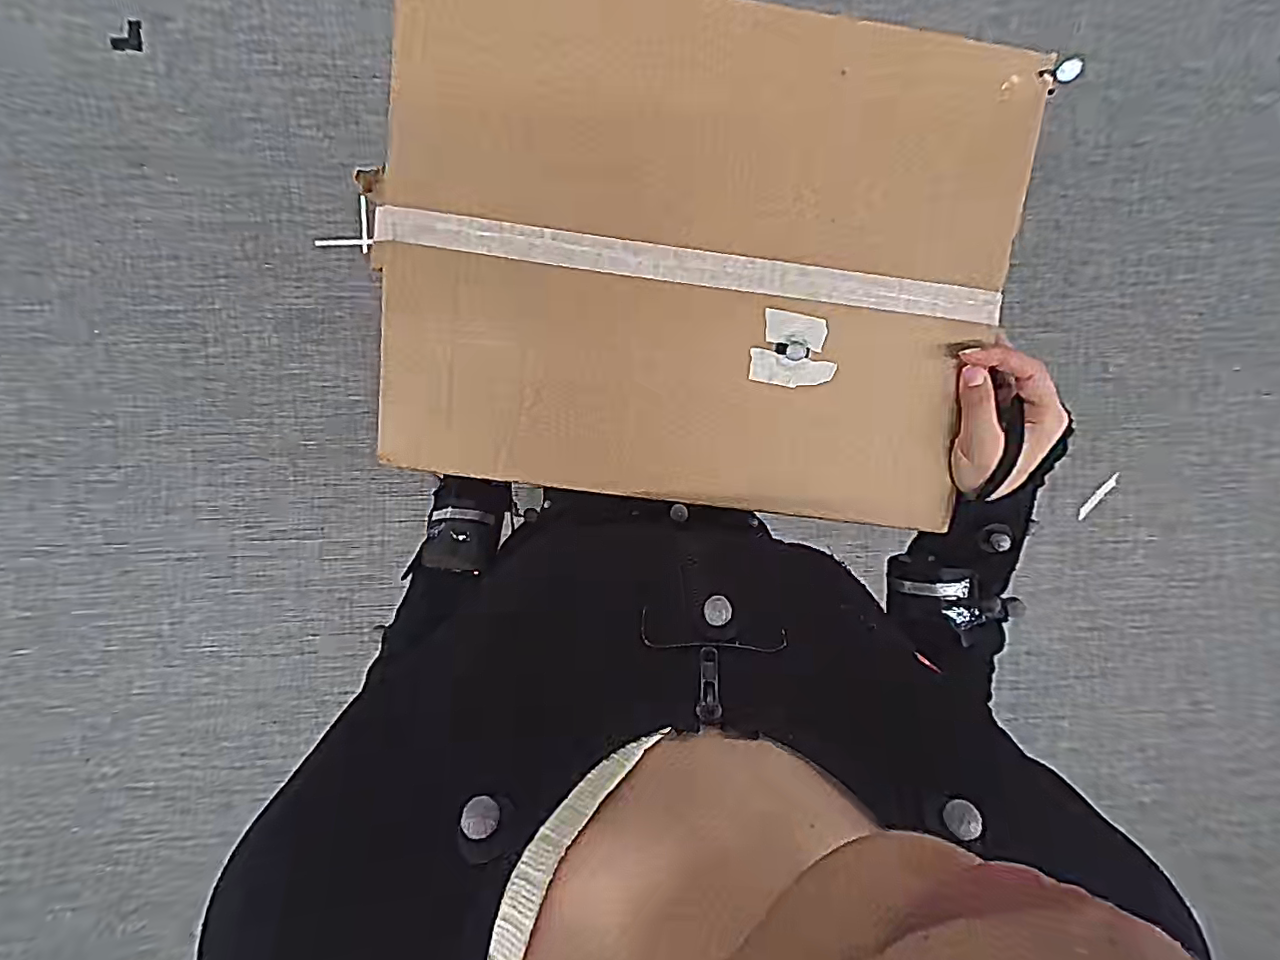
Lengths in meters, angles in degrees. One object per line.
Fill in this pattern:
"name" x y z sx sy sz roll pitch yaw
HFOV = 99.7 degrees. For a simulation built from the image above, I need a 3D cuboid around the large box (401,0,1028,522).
"large box" 0.035 -0.160 0.510 0.408 0.320 0.320 6 100 -5
